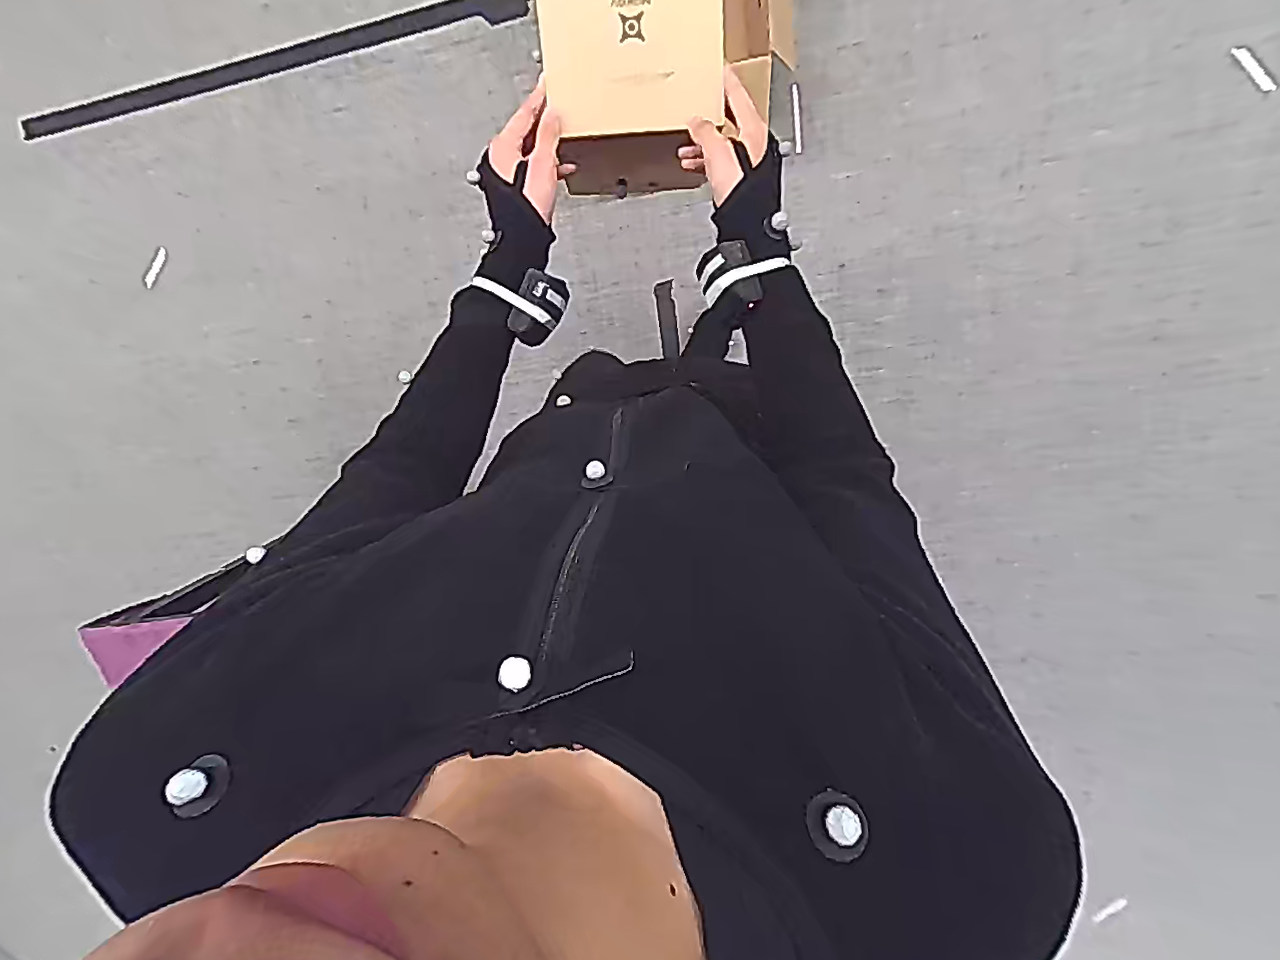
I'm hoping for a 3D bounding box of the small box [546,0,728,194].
[{"bbox_3d":[-0.006,-0.428,0.570,0.168,0.176,0.179,-4,100,0],"label":"small box"}]
